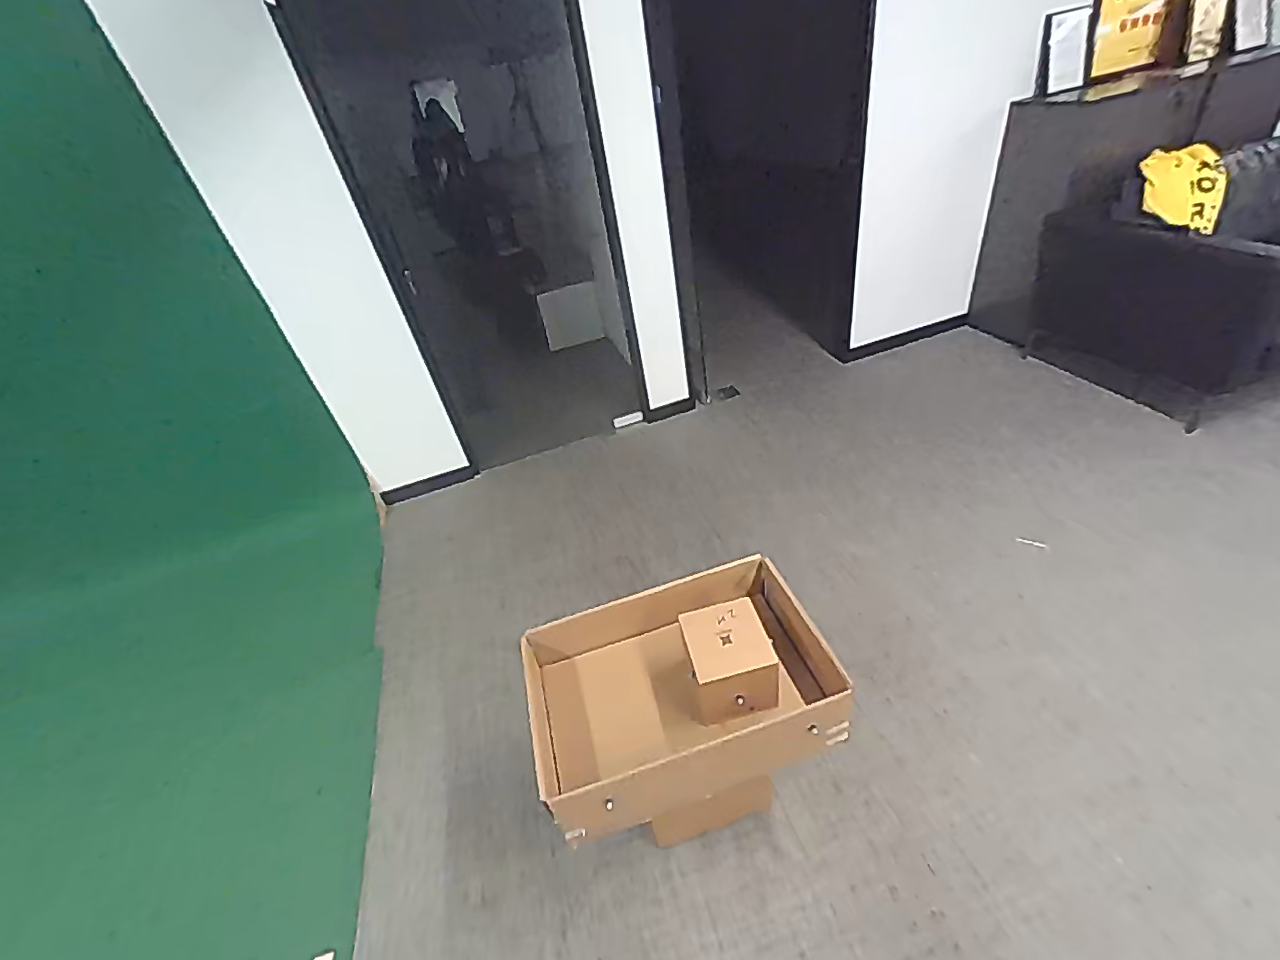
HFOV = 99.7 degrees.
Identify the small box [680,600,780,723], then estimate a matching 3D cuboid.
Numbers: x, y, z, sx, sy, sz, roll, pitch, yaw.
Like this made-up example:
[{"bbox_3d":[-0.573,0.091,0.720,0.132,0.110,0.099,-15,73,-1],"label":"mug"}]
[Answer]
[{"bbox_3d":[0.194,0.392,1.155,0.168,0.176,0.179,-14,37,-3],"label":"small box"}]
